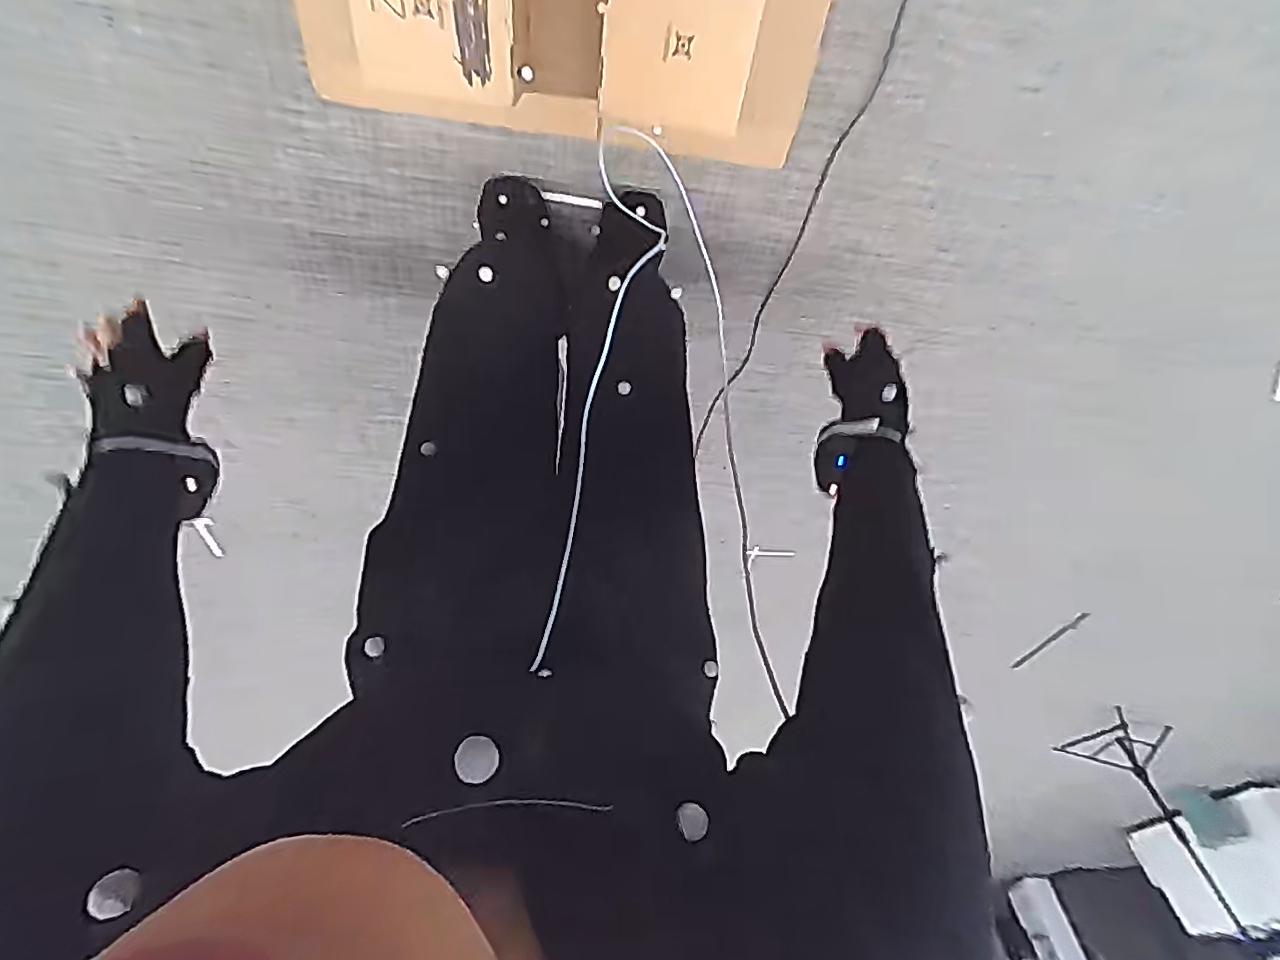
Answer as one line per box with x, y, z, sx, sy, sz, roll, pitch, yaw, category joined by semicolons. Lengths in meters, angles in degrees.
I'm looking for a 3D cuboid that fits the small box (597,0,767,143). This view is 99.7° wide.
0.045;-0.553;0.683;0.179;0.176;0.168;7;133;-5;small box
